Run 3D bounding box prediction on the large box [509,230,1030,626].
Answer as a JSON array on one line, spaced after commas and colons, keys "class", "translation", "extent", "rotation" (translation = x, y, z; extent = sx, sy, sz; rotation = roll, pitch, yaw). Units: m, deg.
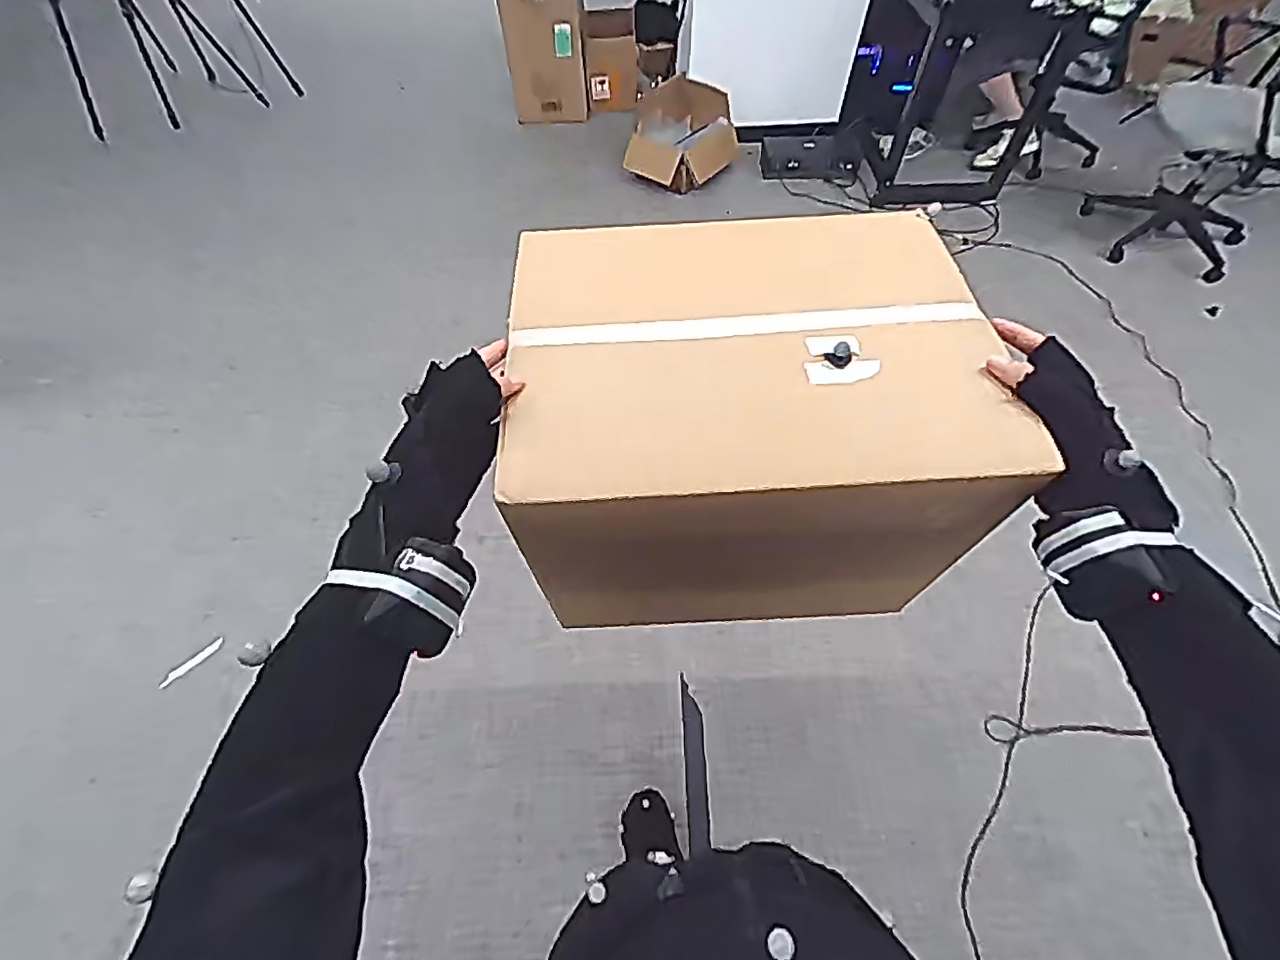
[{"class": "large box", "translation": [0.091, -0.042, 0.607], "extent": [0.408, 0.320, 0.320], "rotation": [-3, 59, -1]}]
